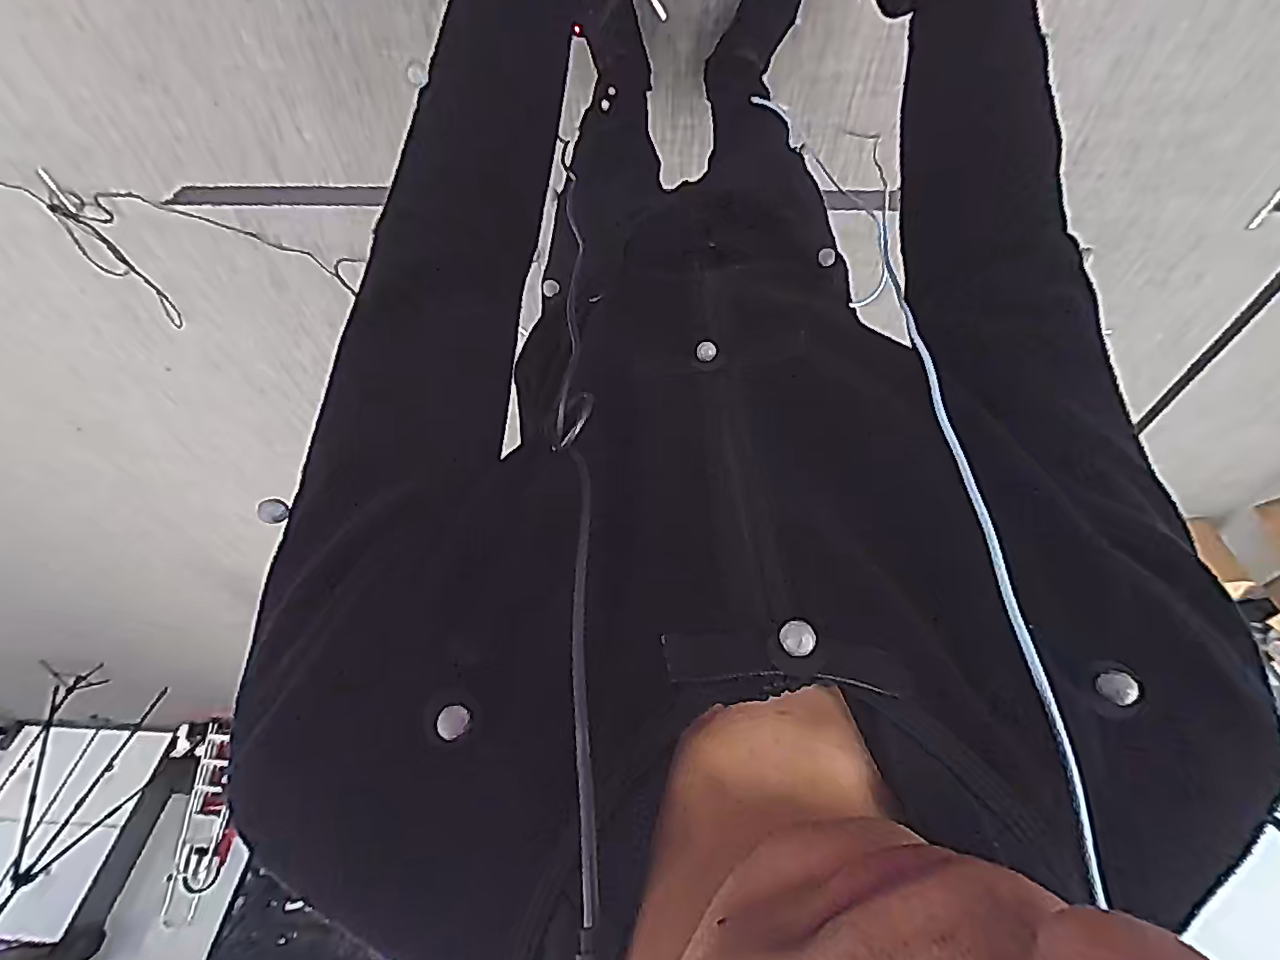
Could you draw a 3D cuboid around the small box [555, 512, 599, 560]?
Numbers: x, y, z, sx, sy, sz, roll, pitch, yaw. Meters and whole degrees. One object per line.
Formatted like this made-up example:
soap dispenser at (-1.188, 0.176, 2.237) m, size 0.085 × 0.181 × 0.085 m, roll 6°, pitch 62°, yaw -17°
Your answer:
small box at (-0.289, 0.260, 2.524) m, size 0.179 × 0.176 × 0.168 m, roll 1°, pitch 141°, yaw 4°
